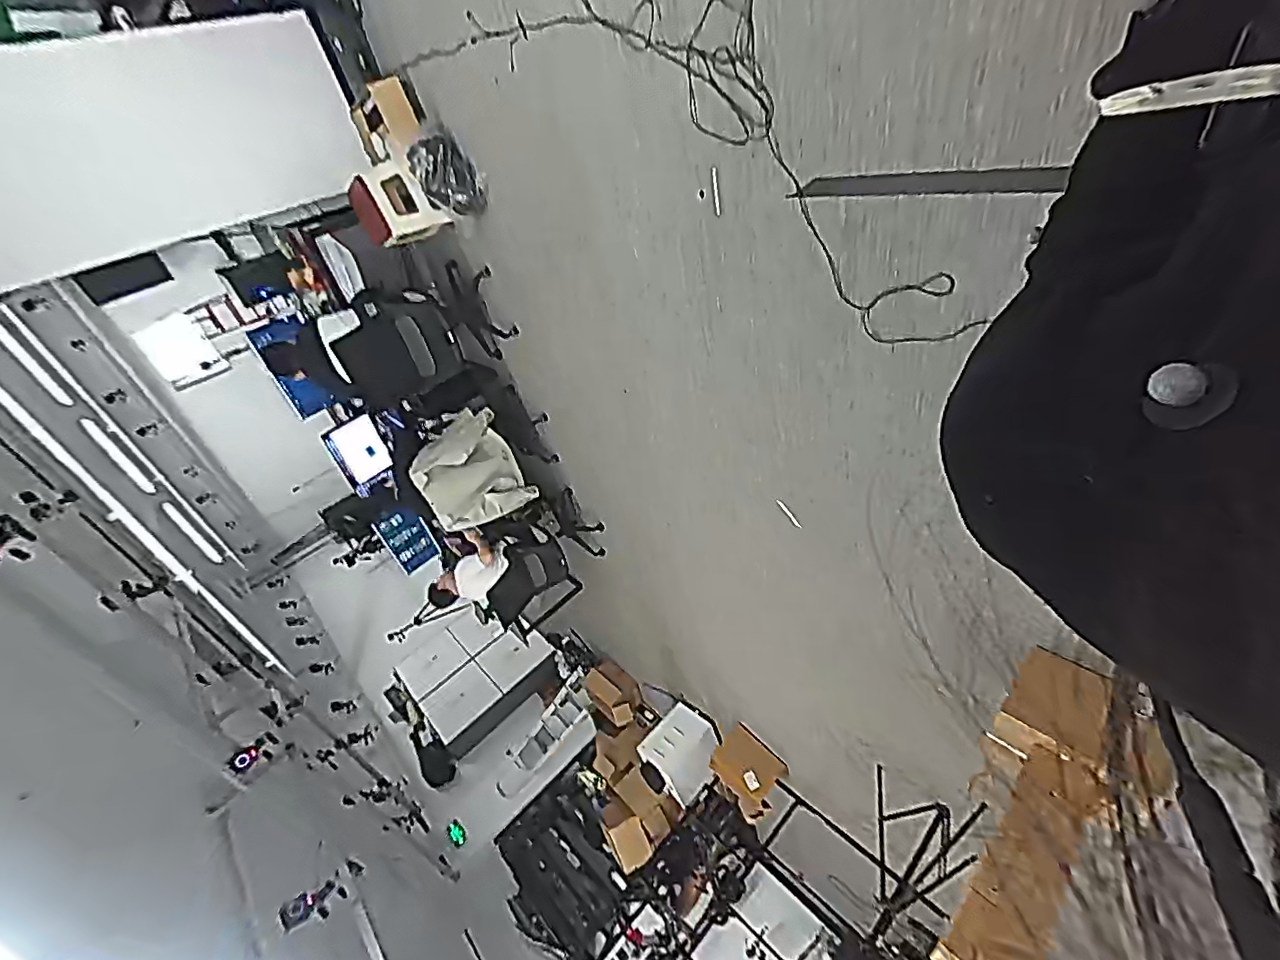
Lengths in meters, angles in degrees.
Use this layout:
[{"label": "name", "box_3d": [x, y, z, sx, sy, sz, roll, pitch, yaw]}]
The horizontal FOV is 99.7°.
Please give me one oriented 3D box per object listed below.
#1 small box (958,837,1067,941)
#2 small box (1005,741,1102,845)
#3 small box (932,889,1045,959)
[{"label": "small box", "box_3d": [0.998, 1.101, 1.452, 0.179, 0.176, 0.168, 28, 143, 39]}, {"label": "small box", "box_3d": [1.227, 0.922, 1.604, 0.179, 0.176, 0.168, 26, 141, 43]}, {"label": "small box", "box_3d": [0.884, 1.189, 1.377, 0.179, 0.176, 0.168, 28, 143, 38]}]
